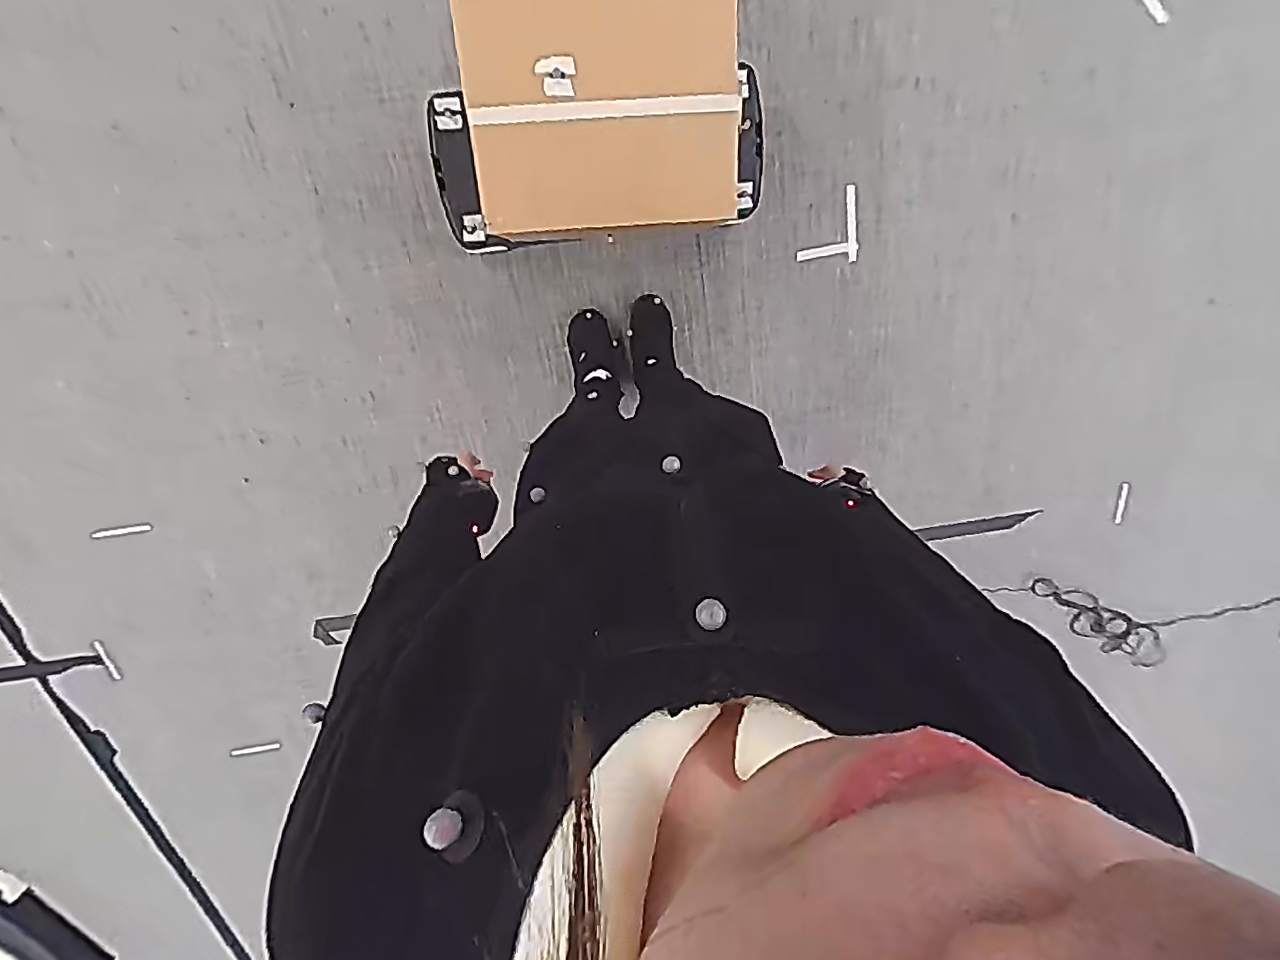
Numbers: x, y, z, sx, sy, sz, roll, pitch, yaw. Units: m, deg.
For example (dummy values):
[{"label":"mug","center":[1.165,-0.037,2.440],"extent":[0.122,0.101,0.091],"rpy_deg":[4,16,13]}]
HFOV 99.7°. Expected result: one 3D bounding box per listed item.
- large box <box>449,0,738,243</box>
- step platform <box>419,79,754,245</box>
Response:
[{"label":"large box","center":[-0.063,-0.595,0.933],"extent":[0.408,0.320,0.320],"rpy_deg":[-5,111,-3]},{"label":"step platform","center":[-0.104,-0.668,1.158],"extent":[0.684,0.204,0.286],"rpy_deg":[-3,111,-4]}]
